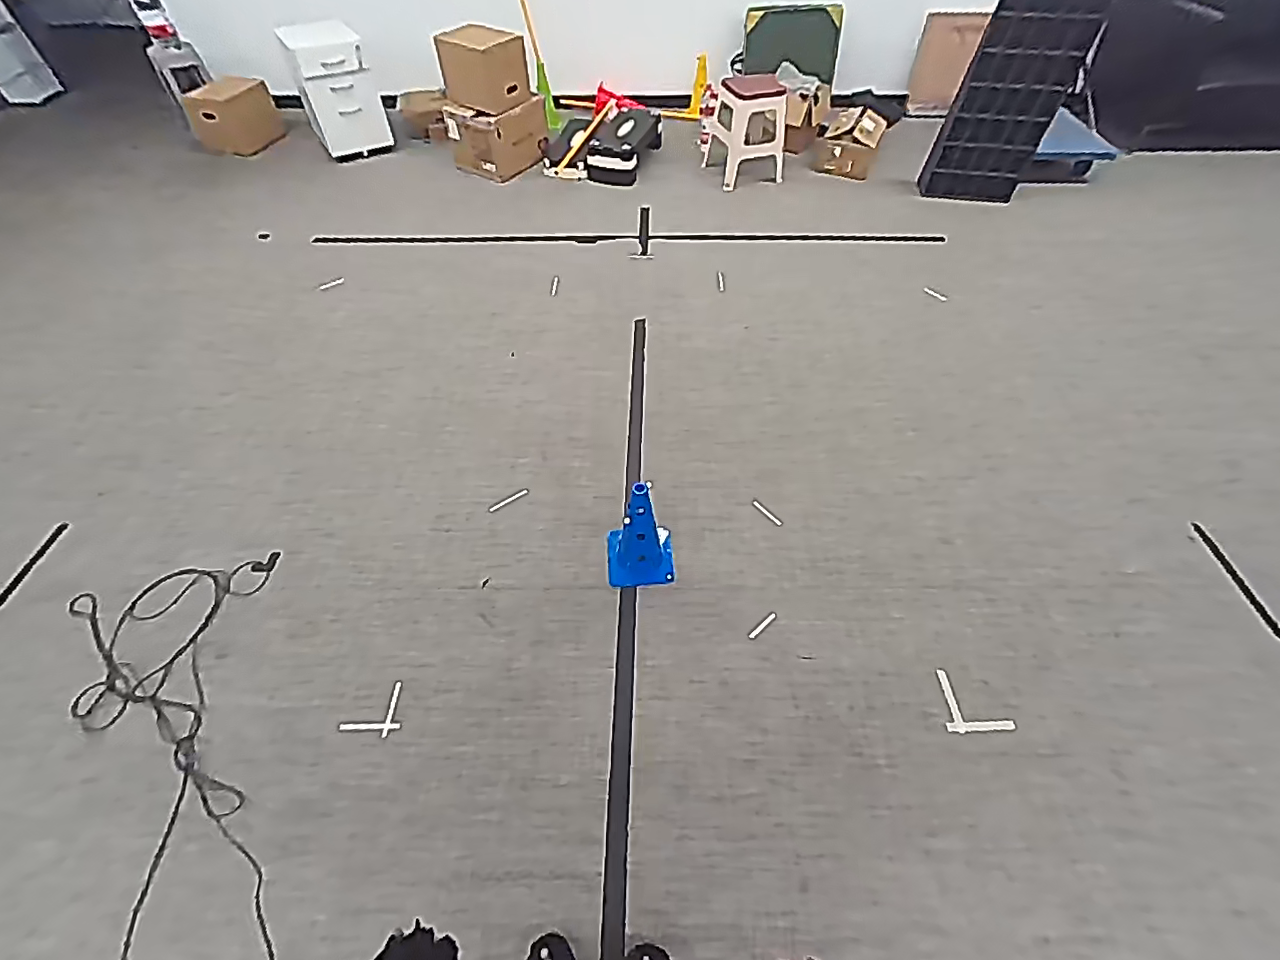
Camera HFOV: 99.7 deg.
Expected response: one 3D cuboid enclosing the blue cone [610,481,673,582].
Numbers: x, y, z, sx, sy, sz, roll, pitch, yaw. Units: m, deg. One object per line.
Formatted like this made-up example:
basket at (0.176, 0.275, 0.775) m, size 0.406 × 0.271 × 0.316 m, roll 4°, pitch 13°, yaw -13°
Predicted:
blue cone at (0.004, 0.131, 1.554) m, size 0.192 × 0.380 × 0.193 m, roll -1°, pitch 52°, yaw -2°
